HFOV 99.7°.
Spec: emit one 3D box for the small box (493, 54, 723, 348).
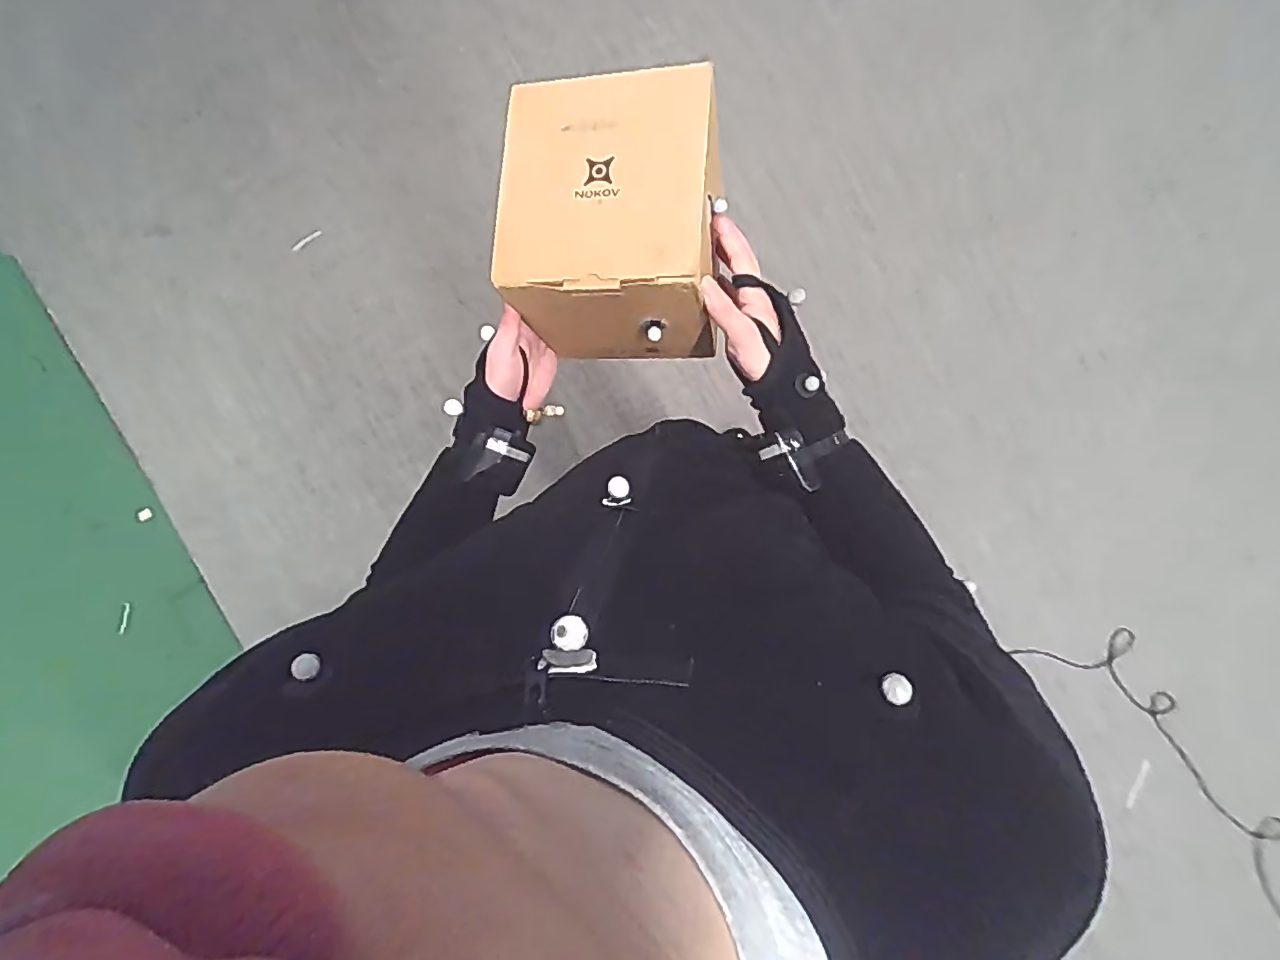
[{"bbox_3d":[-0.014,-0.228,0.490,0.168,0.176,0.179,2,83,11],"label":"small box"}]
